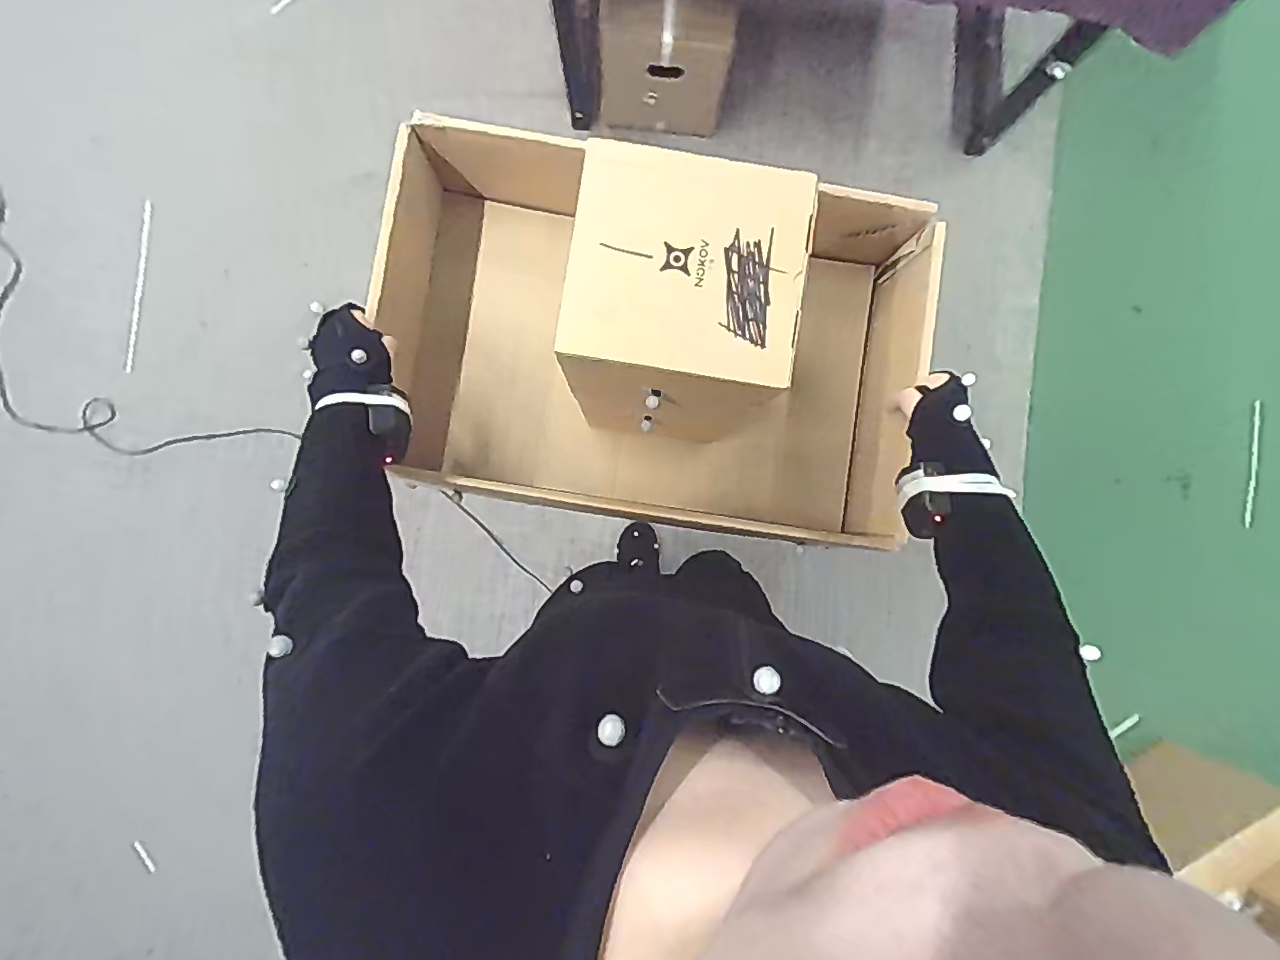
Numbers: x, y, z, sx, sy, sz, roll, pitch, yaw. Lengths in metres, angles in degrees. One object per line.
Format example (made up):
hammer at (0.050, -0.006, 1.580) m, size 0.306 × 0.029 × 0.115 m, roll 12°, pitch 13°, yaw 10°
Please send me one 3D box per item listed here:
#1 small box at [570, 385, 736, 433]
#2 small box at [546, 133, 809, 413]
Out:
small box at (0.022, -0.154, 0.641) m, size 0.179 × 0.176 × 0.168 m, roll 8°, pitch 88°, yaw -2°
small box at (0.027, -0.160, 0.476) m, size 0.179 × 0.176 × 0.168 m, roll 8°, pitch 87°, yaw -1°
